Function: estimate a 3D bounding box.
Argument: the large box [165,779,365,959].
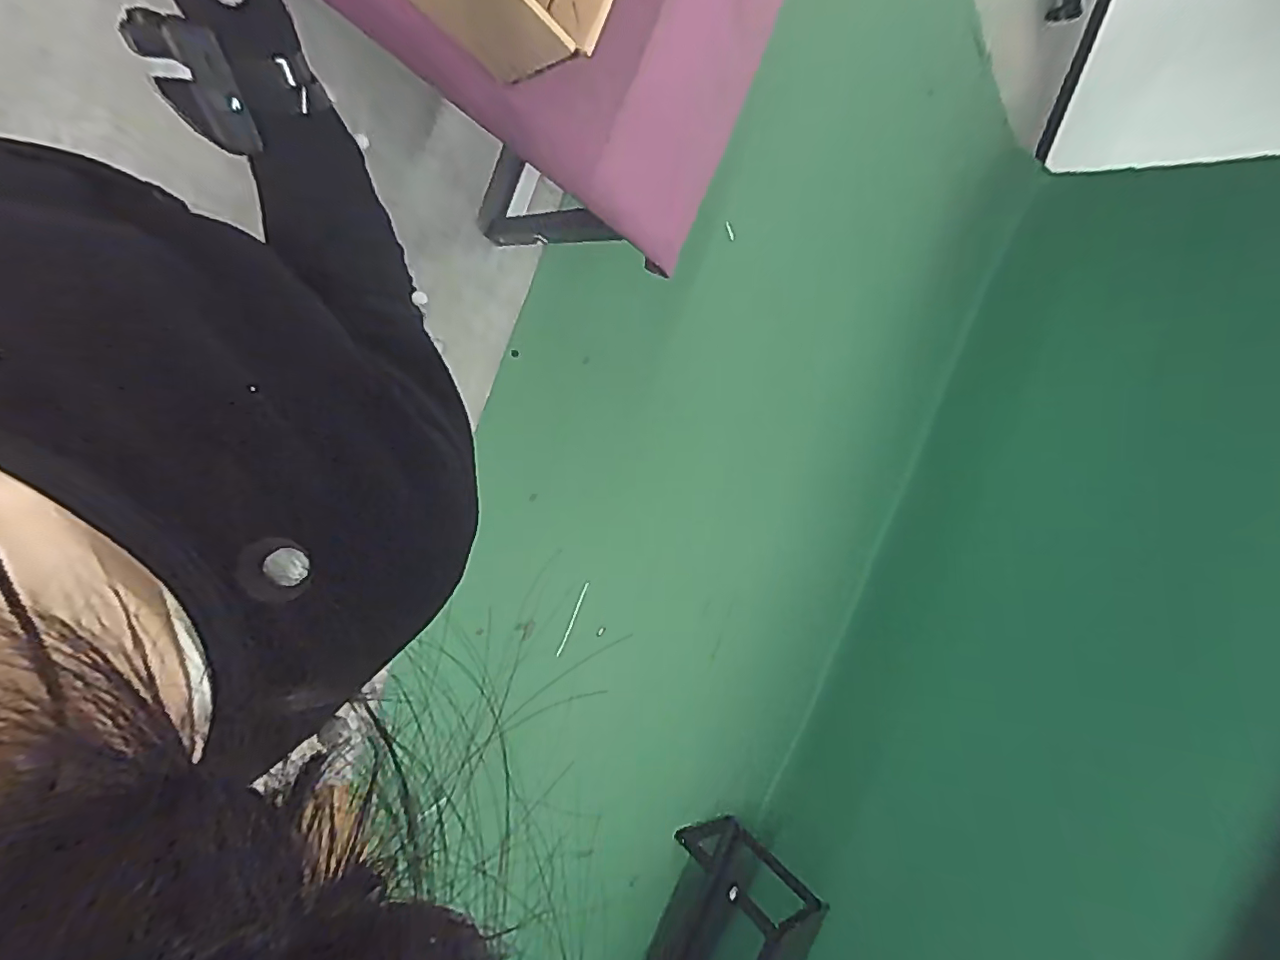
[{"bbox_3d":[-1.023,1.115,1.478,0.408,0.320,0.320,-1,109,-44],"label":"large box"}]
